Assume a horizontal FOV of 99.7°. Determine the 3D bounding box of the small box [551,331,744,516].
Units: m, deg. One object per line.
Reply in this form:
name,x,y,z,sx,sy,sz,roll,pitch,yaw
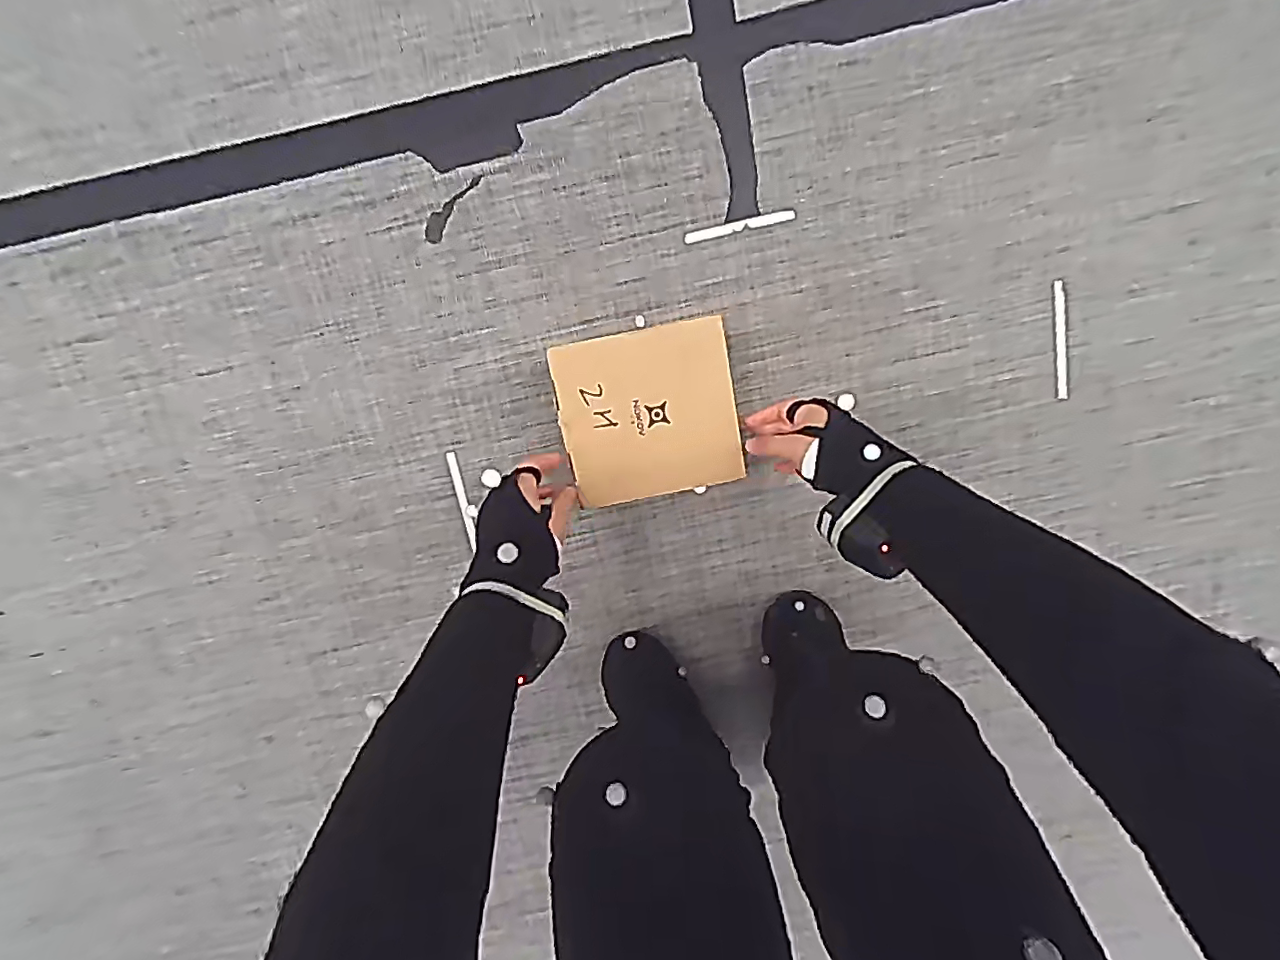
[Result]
small box,0.007,-0.071,0.623,0.179,0.176,0.168,-11,101,1
